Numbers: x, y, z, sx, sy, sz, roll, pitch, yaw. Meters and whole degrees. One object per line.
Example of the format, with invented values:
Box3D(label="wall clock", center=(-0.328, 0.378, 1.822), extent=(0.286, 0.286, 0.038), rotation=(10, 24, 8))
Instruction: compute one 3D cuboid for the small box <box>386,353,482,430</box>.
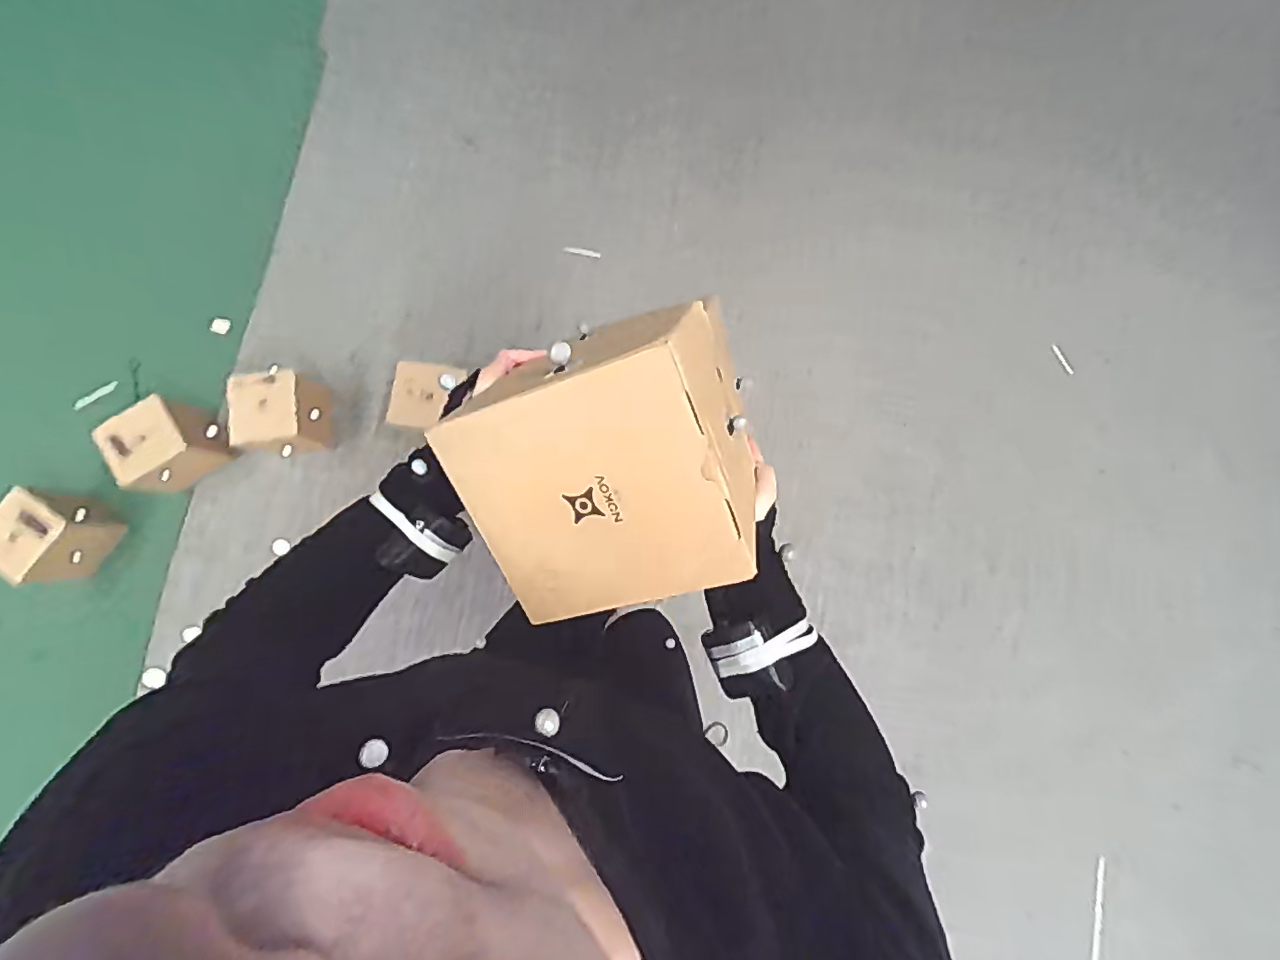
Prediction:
Box3D(label="small box", center=(-0.529, -0.215, 1.415), extent=(0.179, 0.176, 0.168), rotation=(10, 83, -1))

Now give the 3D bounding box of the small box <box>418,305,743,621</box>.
Box3D(label="small box", center=(-0.025, -0.020, 0.423), extent=(0.179, 0.176, 0.168), rotation=(-16, 112, 18))

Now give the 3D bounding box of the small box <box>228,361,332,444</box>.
Box3D(label="small box", center=(-0.927, -0.193, 1.405), extent=(0.168, 0.176, 0.179), rotation=(-6, 84, -2))

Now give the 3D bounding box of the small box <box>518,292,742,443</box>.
Box3D(label="small box", center=(0.005, -0.086, 0.569), extent=(0.179, 0.176, 0.168), rotation=(-12, 113, 16))

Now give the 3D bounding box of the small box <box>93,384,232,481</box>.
Box3D(label="small box", center=(-1.215, -0.113, 1.390), extent=(0.179, 0.176, 0.168), rotation=(-33, 85, -5))
